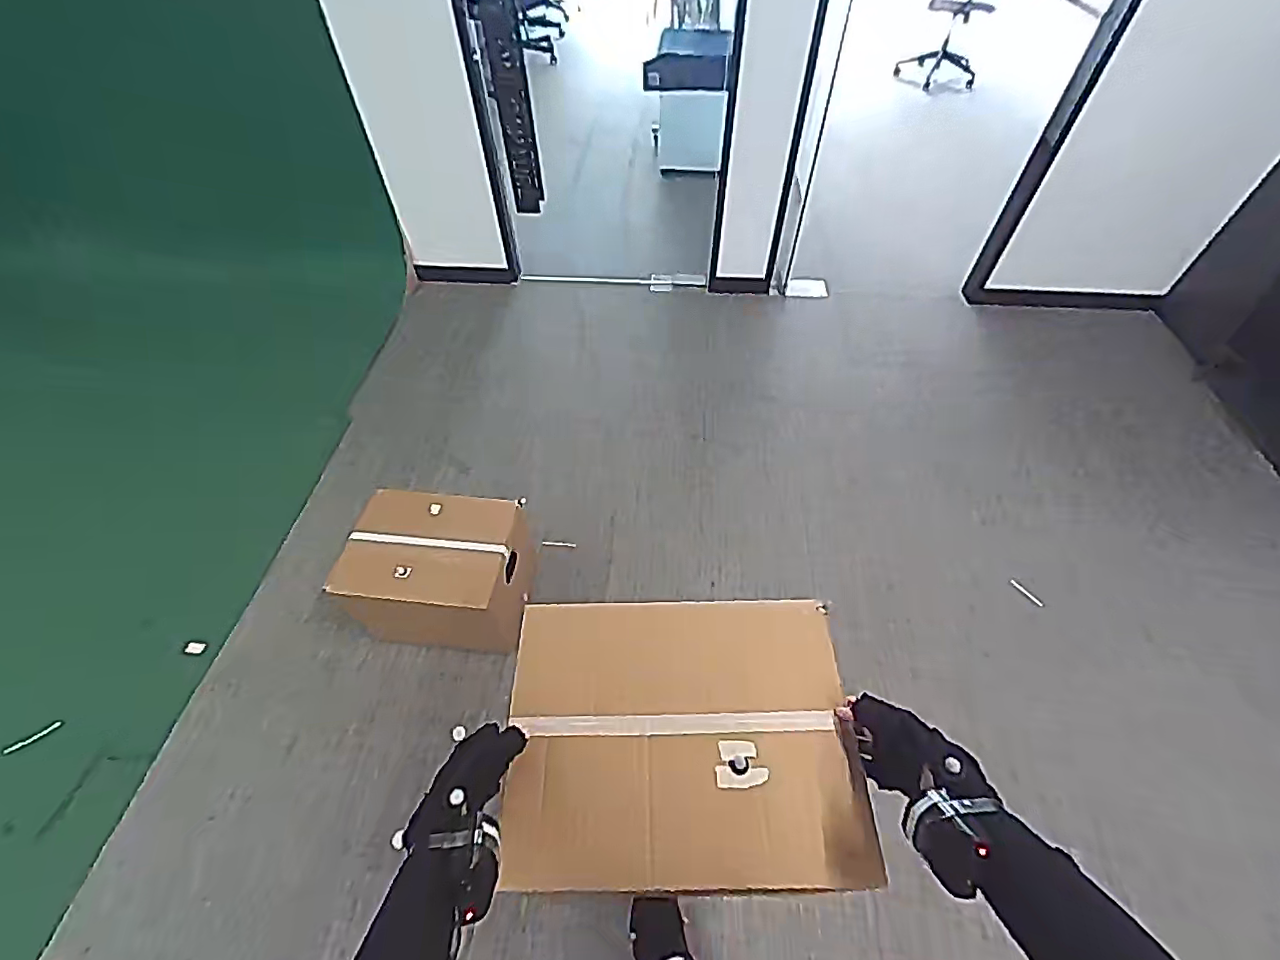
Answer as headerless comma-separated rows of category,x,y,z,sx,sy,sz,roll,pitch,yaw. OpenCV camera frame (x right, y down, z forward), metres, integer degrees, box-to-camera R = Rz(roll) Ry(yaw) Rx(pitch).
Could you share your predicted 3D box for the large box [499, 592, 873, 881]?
large box,0.046,0.371,0.771,0.408,0.320,0.320,-1,53,0
